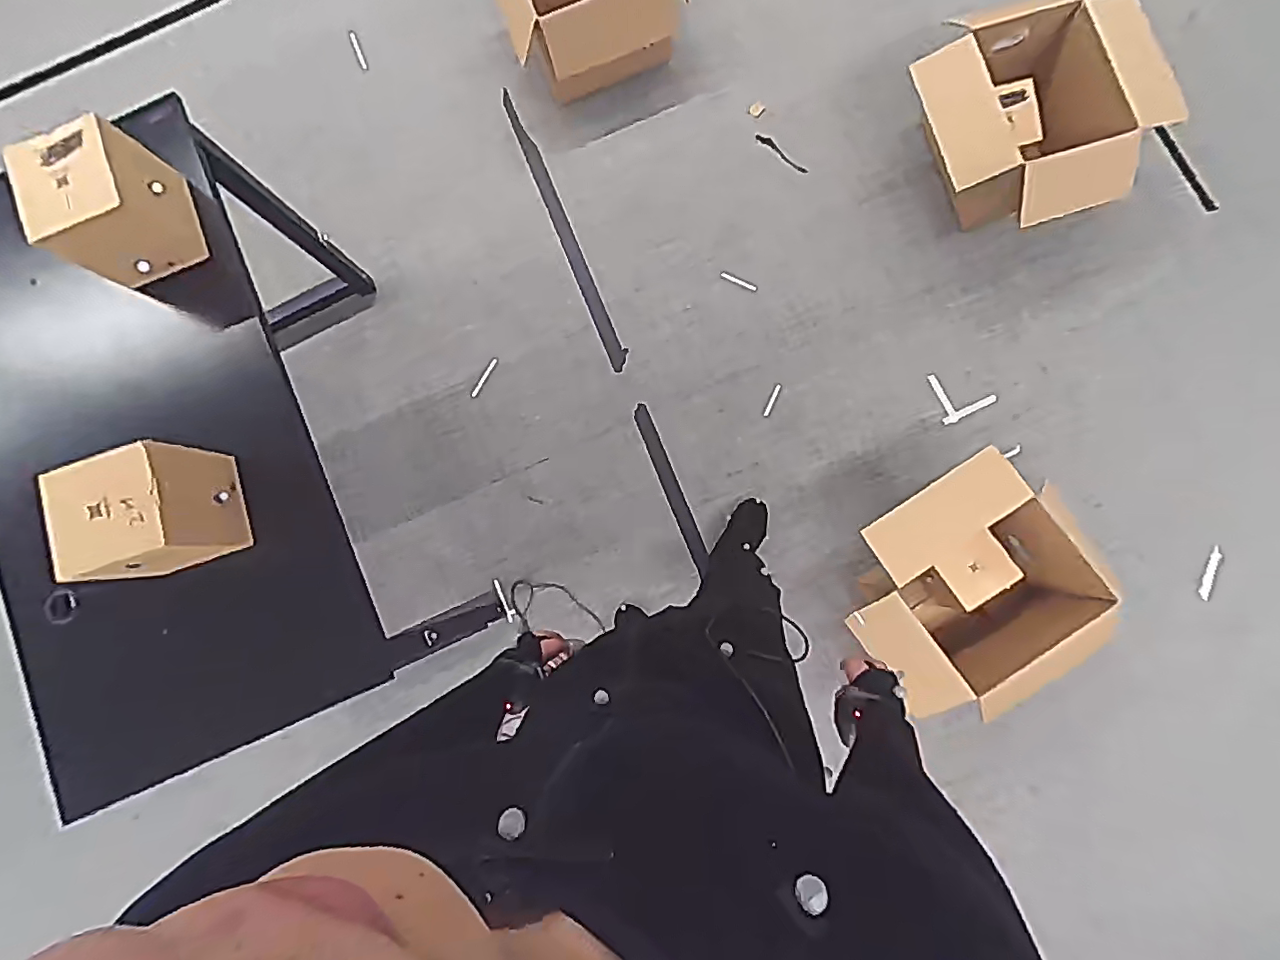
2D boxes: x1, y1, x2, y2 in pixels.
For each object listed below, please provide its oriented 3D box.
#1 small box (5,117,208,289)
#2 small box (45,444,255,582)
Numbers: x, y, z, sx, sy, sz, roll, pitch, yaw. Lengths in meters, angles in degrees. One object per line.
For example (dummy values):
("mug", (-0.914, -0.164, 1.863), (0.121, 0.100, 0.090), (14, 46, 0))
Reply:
("small box", (-0.909, -0.467, 0.936), (0.168, 0.176, 0.179), (-22, 84, 2))
("small box", (-0.778, 0.057, 0.873), (0.179, 0.176, 0.168), (-18, 84, 2))
